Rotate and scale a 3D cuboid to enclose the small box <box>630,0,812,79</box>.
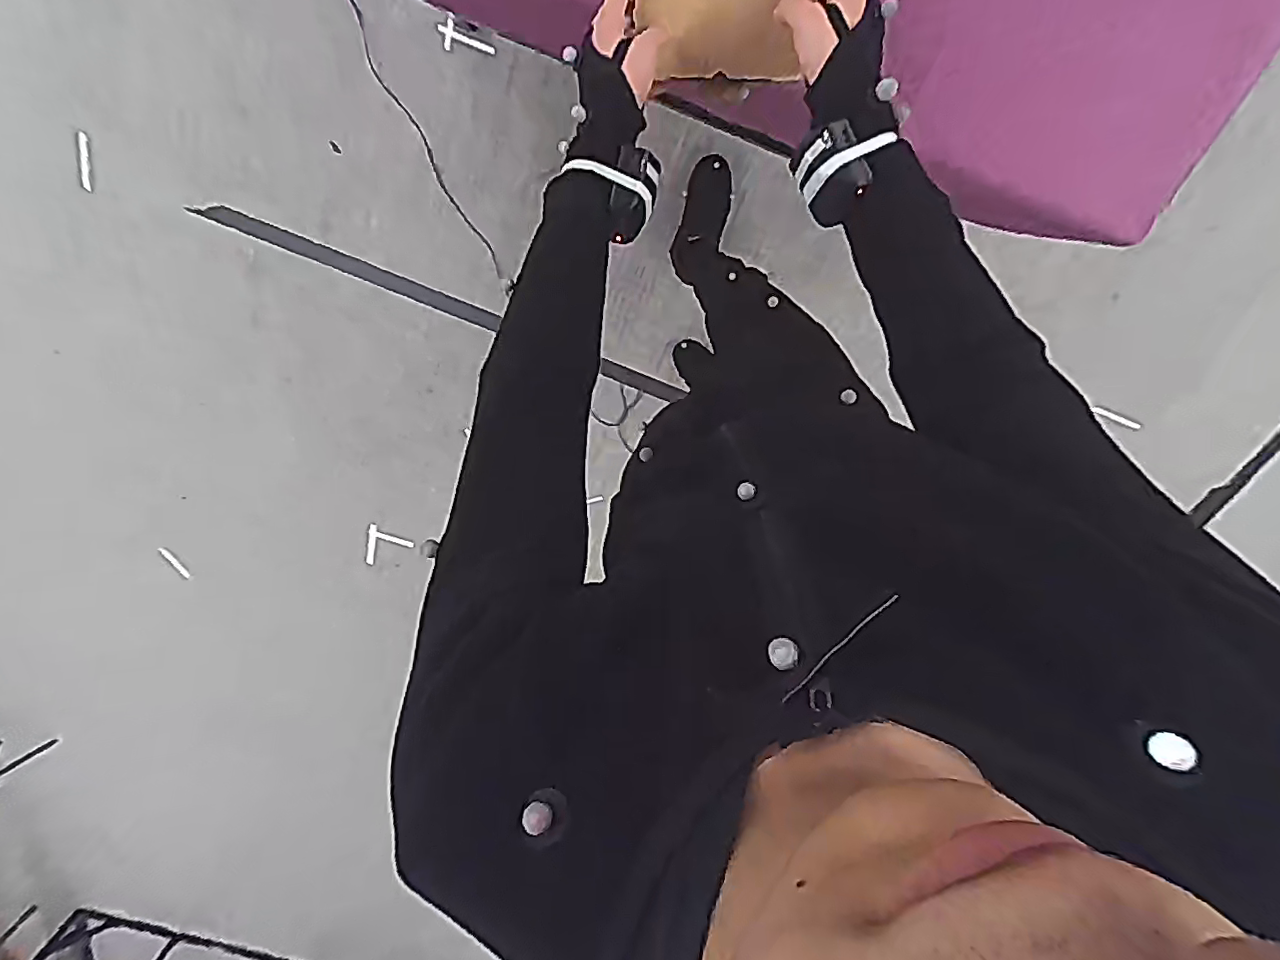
[{"bbox_3d":[0.076,-0.507,0.527,0.168,0.176,0.179,1,128,-2],"label":"small box"}]
